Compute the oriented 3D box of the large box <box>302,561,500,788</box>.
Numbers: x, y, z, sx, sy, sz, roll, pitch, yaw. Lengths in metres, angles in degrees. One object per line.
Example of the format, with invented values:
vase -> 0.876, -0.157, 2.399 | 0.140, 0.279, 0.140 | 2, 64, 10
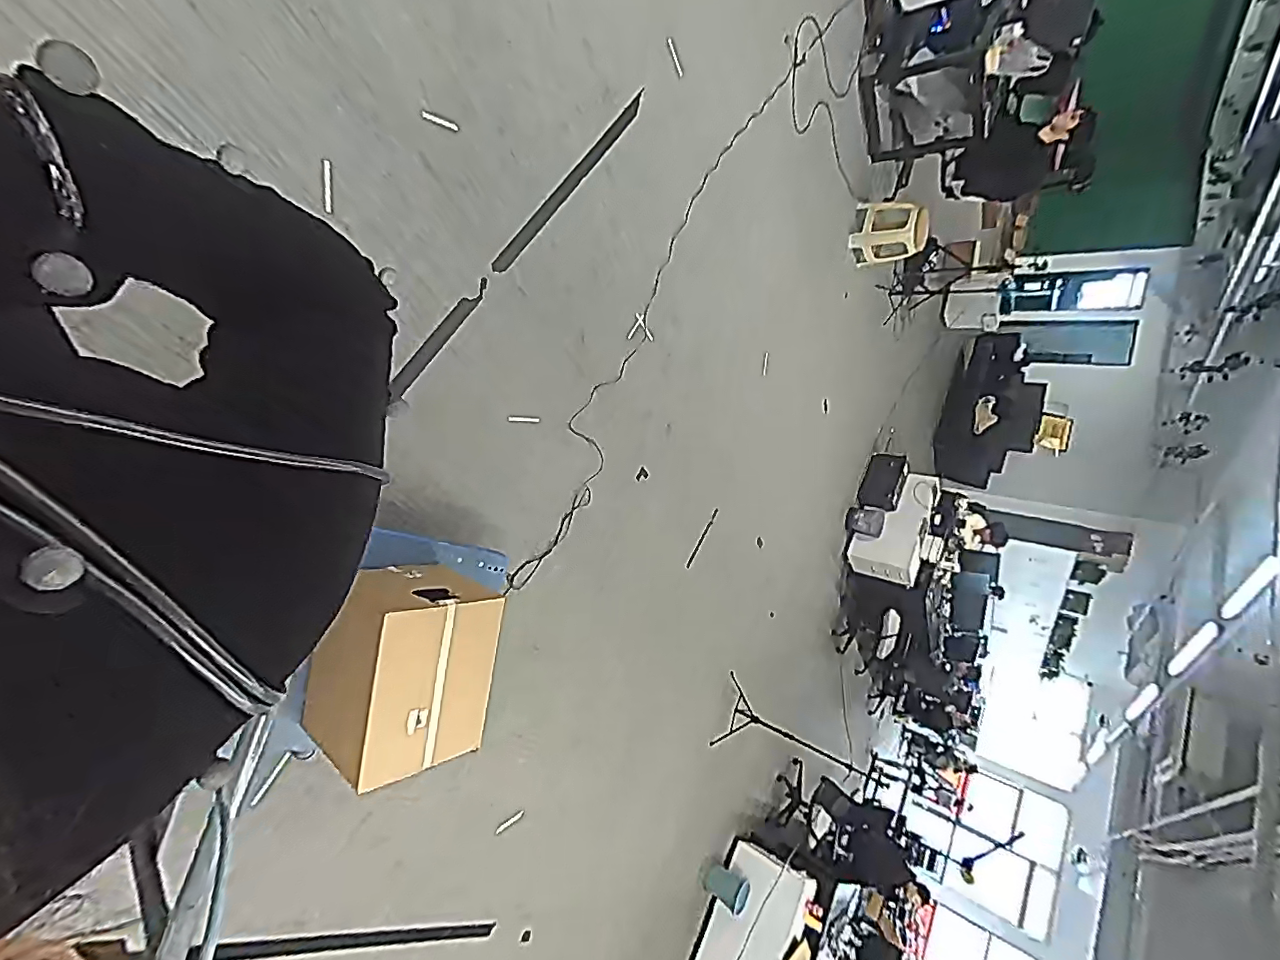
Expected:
large box -> -0.592, 0.442, 1.340 | 0.320, 0.320, 0.408 | 6, 96, -51
